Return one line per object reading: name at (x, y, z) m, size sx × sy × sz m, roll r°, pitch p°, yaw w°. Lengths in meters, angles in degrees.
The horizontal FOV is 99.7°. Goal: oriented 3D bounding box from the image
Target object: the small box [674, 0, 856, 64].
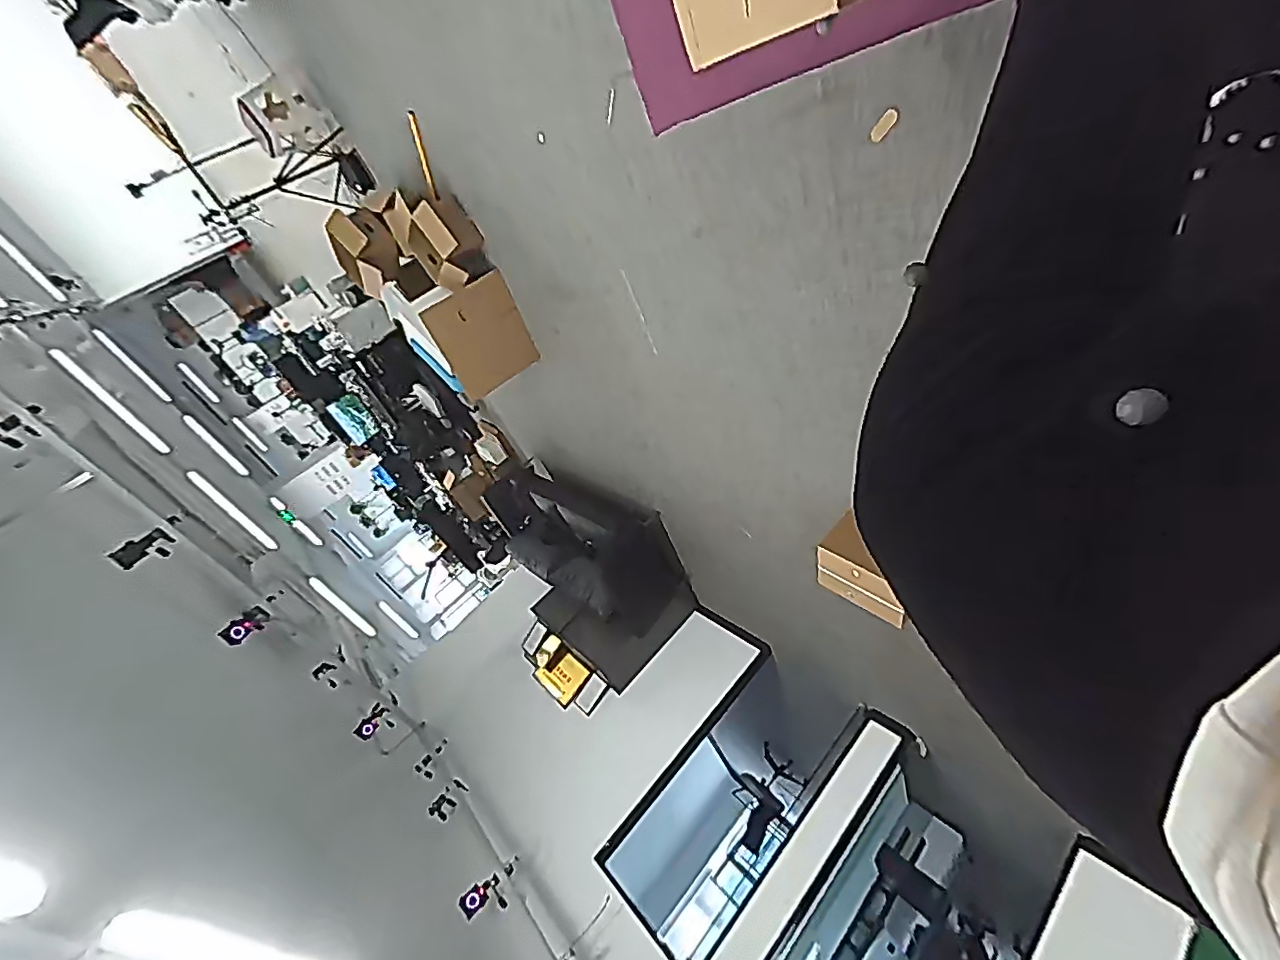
small box at (0.130, -0.504, 0.461) m, size 0.168 × 0.176 × 0.179 m, roll 23°, pitch 148°, yaw 47°
